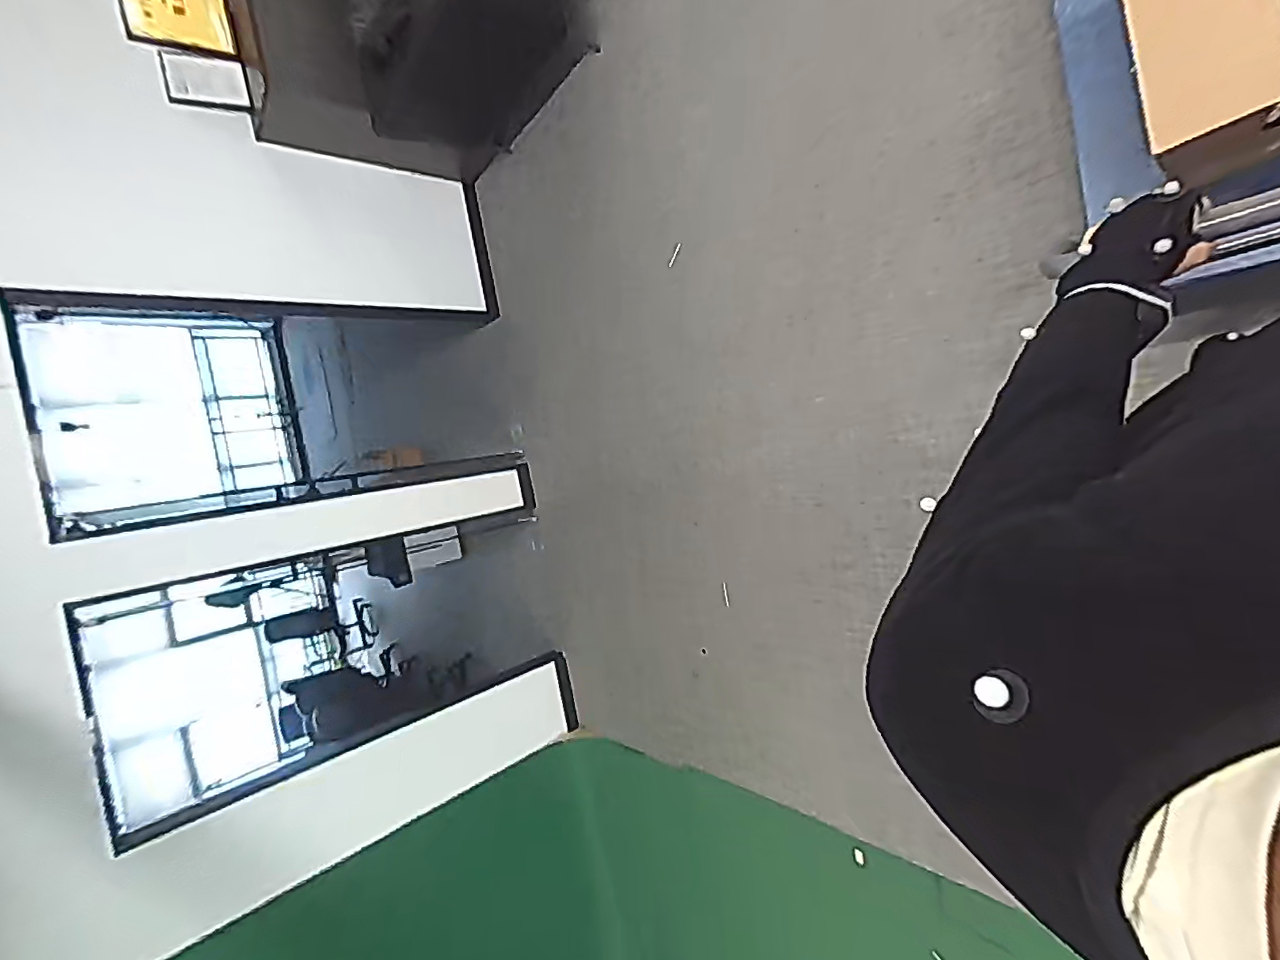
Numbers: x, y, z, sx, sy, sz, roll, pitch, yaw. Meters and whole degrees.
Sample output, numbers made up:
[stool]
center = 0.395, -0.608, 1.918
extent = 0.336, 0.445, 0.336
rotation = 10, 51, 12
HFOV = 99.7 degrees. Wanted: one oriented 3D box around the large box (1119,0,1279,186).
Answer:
[large box]
center = 0.961, -0.738, 0.809
extent = 0.320, 0.320, 0.408
rotation = -11, 90, 50
